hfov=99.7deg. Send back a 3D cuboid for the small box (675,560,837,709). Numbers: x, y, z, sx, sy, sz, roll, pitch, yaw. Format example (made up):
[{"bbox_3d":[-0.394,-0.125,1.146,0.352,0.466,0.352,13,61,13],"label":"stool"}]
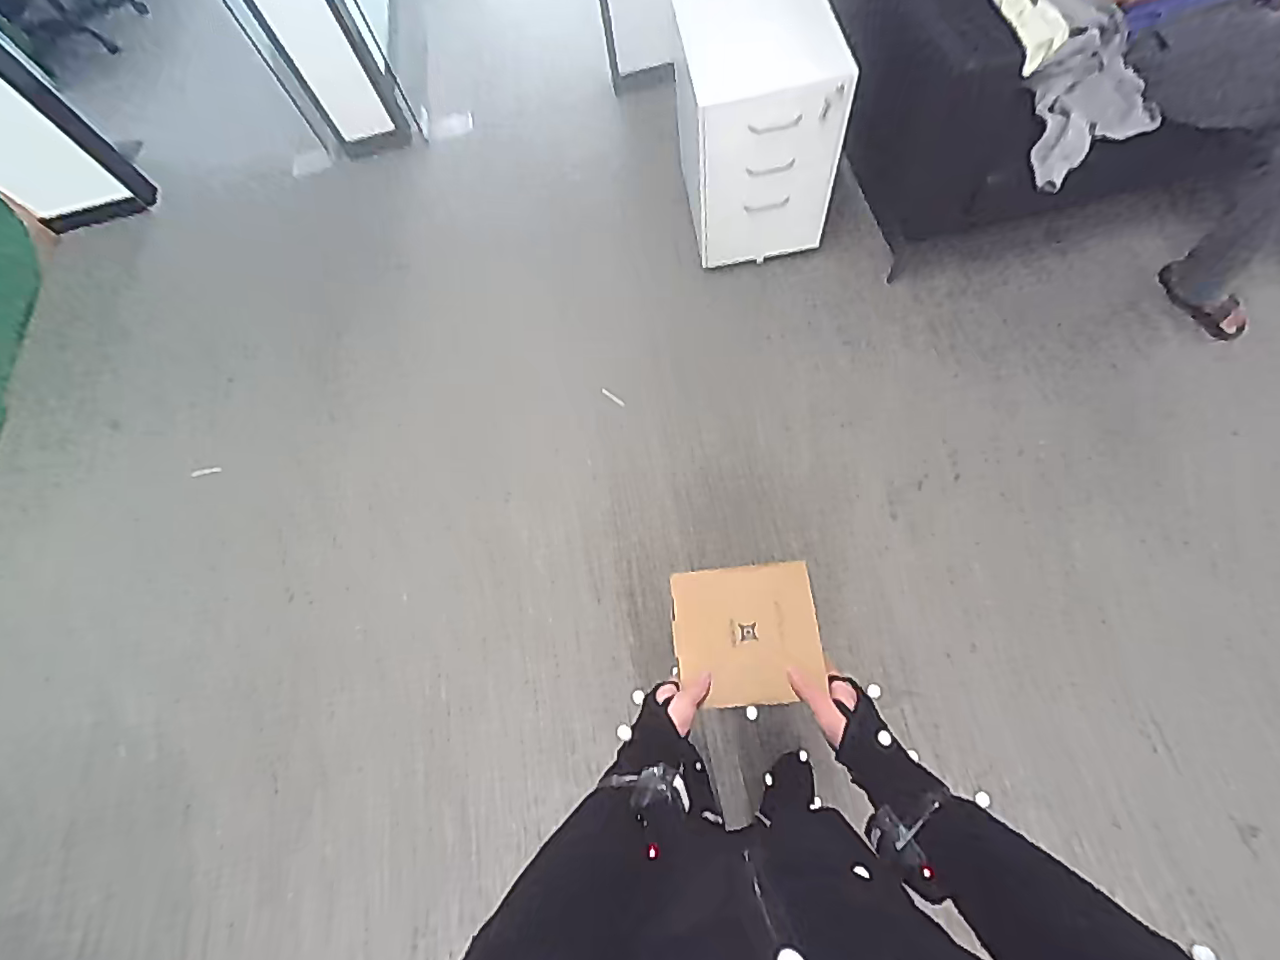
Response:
[{"bbox_3d":[0.149,0.216,0.735,0.179,0.176,0.168,-8,67,6],"label":"small box"}]
